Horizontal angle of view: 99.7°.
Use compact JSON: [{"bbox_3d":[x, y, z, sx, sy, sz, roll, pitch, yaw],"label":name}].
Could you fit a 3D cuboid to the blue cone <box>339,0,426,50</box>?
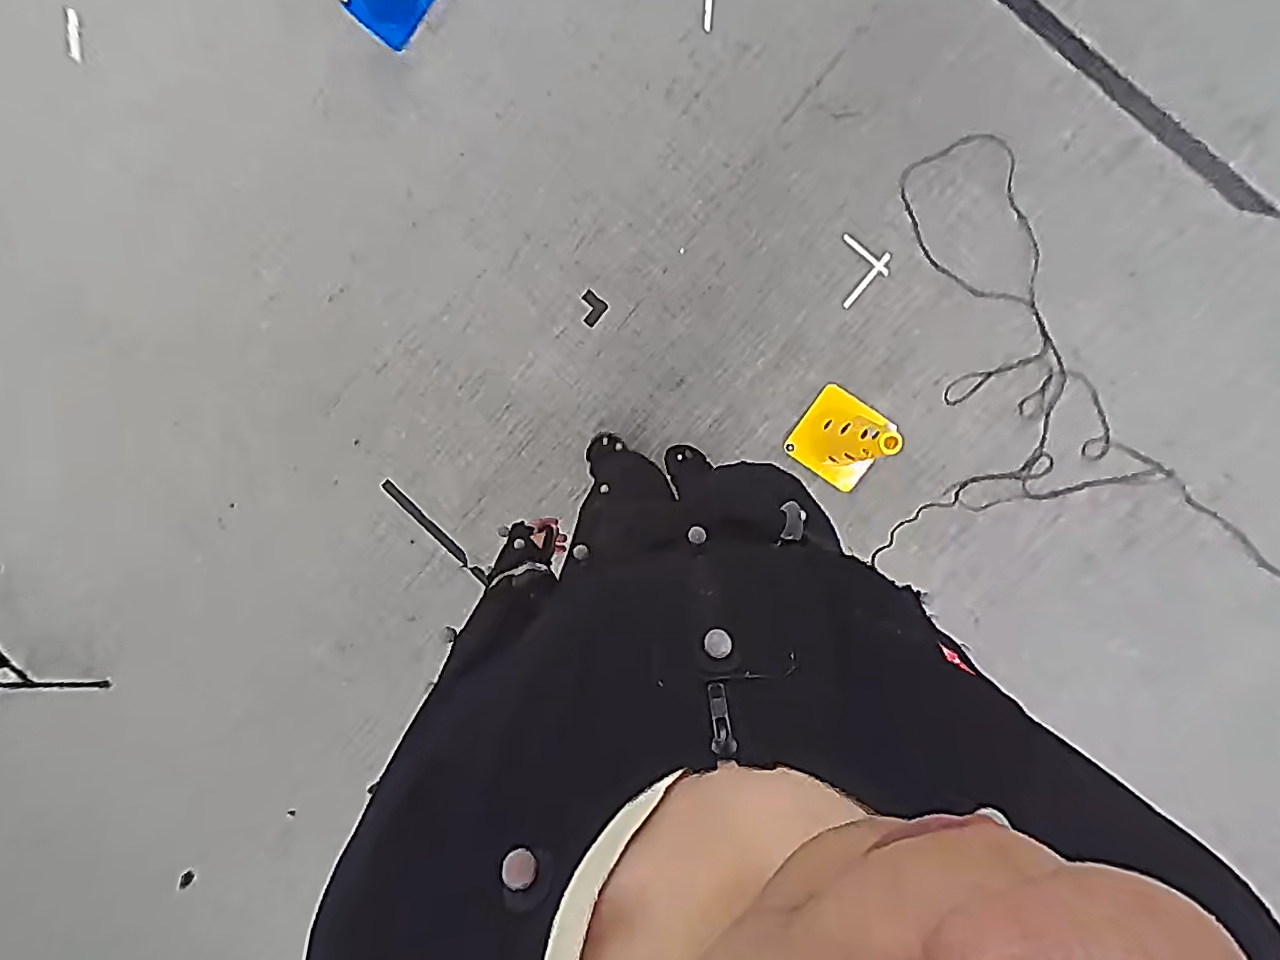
[{"bbox_3d":[-0.638,-1.155,1.149,0.193,0.380,0.192,42,99,1],"label":"blue cone"}]
